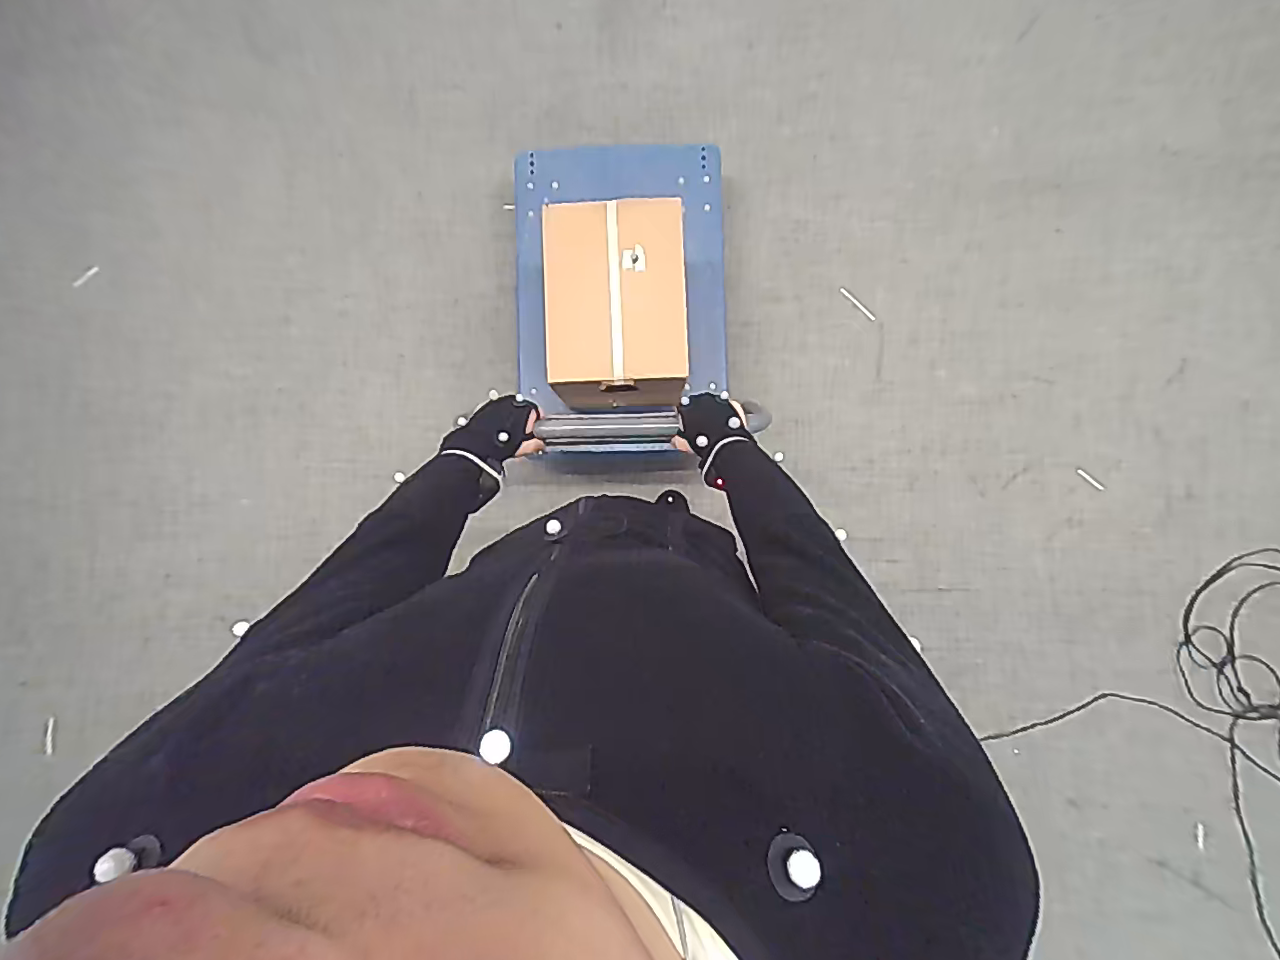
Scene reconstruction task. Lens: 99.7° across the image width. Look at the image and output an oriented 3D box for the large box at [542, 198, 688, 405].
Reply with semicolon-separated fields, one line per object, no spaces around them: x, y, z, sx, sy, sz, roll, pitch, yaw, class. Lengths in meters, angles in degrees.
-0.054;-0.418;1.347;0.320;0.320;0.408;-2;88;1;large box
